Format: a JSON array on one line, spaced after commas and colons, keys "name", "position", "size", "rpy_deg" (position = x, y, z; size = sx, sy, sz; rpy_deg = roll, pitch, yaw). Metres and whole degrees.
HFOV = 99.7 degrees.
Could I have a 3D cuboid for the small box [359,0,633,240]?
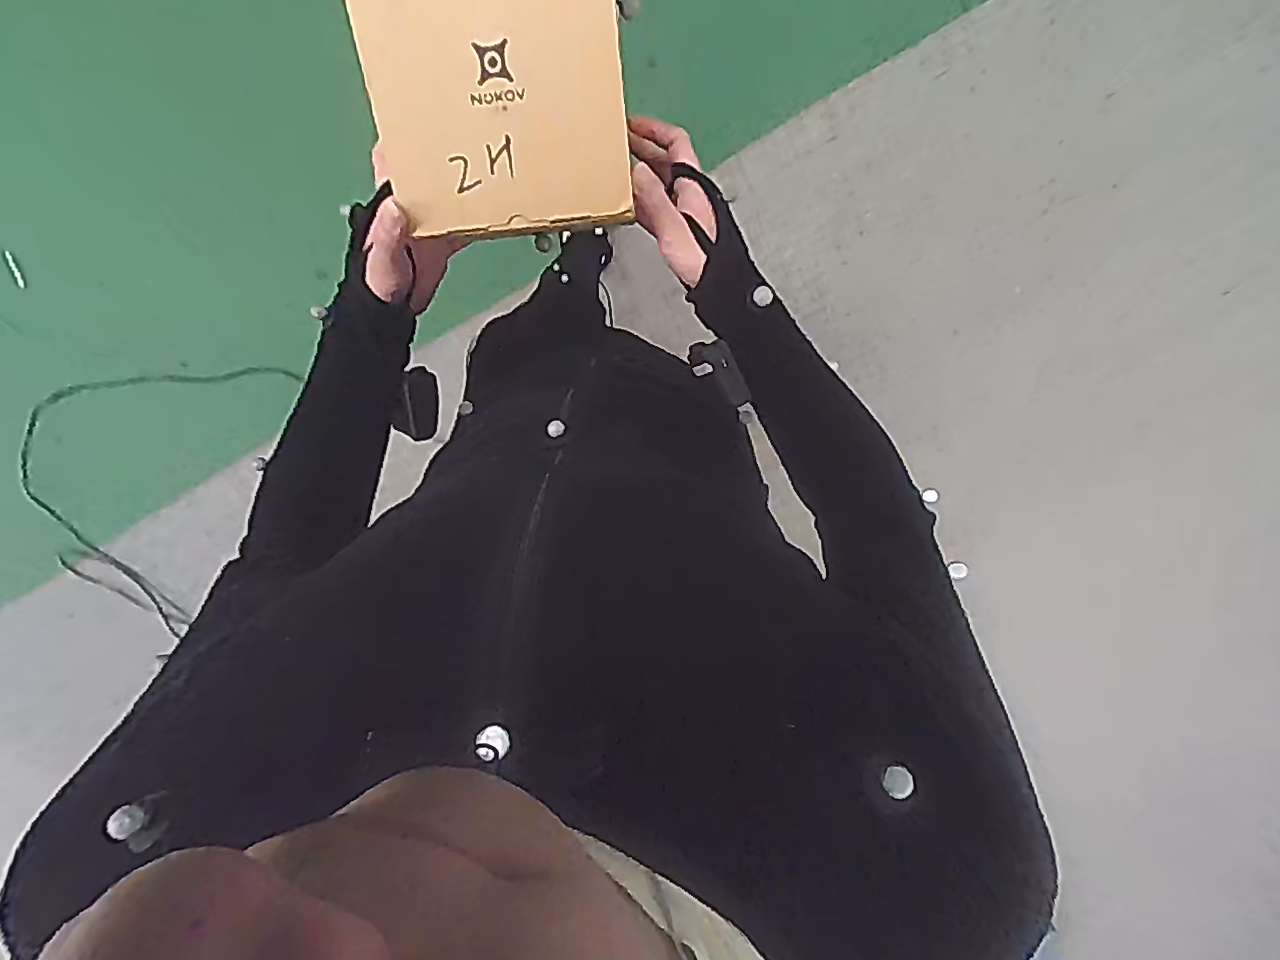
[{"name": "small box", "position": [-0.094, -0.293, 0.430], "size": [0.168, 0.176, 0.179], "rpy_deg": [-4, 114, 2]}]
